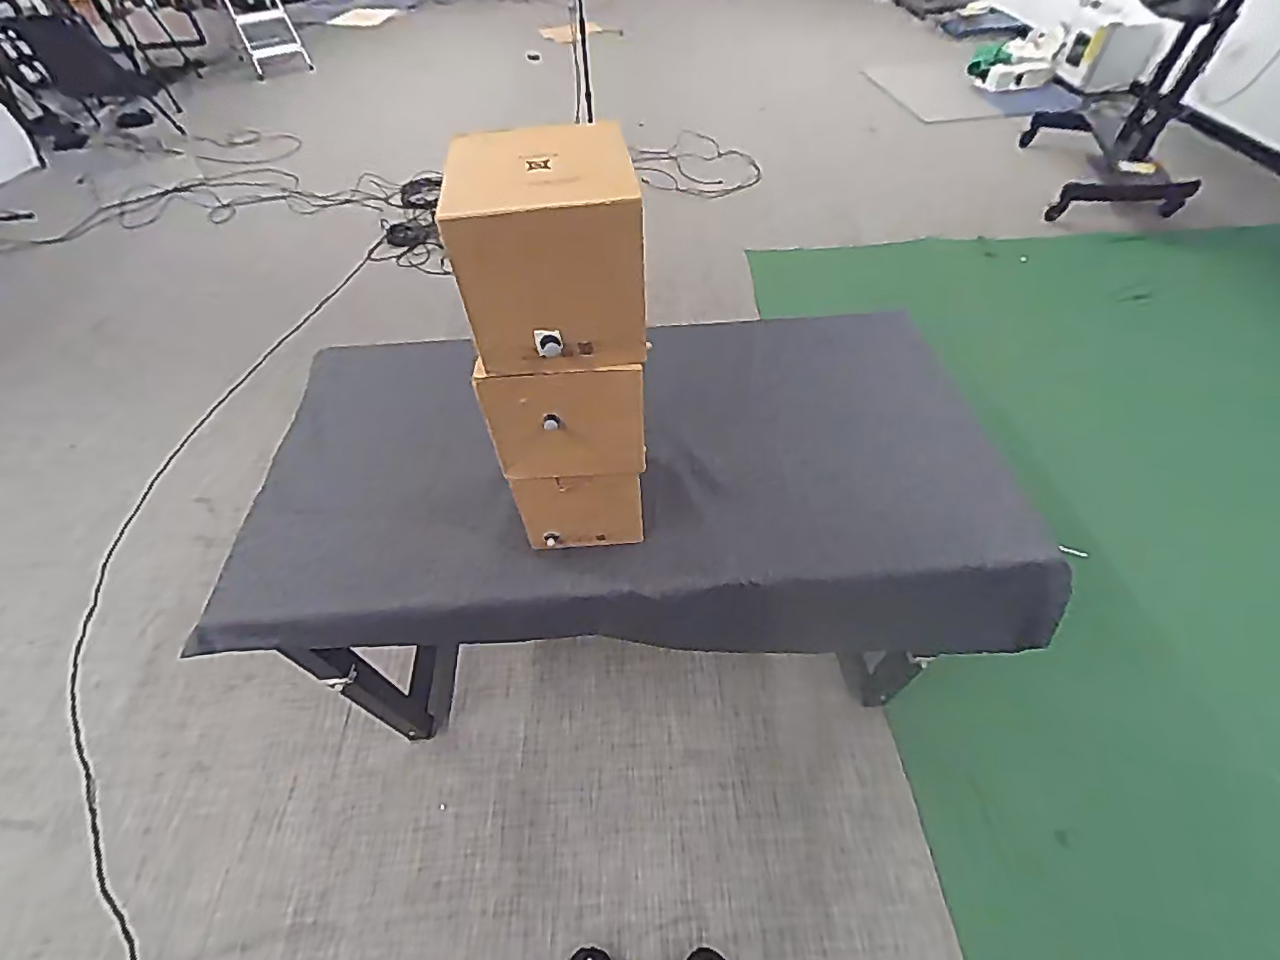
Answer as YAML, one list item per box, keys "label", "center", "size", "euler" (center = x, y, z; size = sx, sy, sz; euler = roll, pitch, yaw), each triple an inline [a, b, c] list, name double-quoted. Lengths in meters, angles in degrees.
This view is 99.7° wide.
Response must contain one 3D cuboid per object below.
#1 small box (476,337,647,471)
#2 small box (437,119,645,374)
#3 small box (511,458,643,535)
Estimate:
- label: "small box"
  center: [-0.088, -0.126, 0.673]
  size: [0.179, 0.176, 0.168]
  euler: [-6, 49, -3]
- label: "small box"
  center: [-0.090, -0.233, 0.547]
  size: [0.168, 0.176, 0.179]
  euler: [-9, 52, -3]
- label: "small box"
  center: [-0.085, -0.030, 0.802]
  size: [0.168, 0.176, 0.179]
  euler: [-4, 50, -1]
